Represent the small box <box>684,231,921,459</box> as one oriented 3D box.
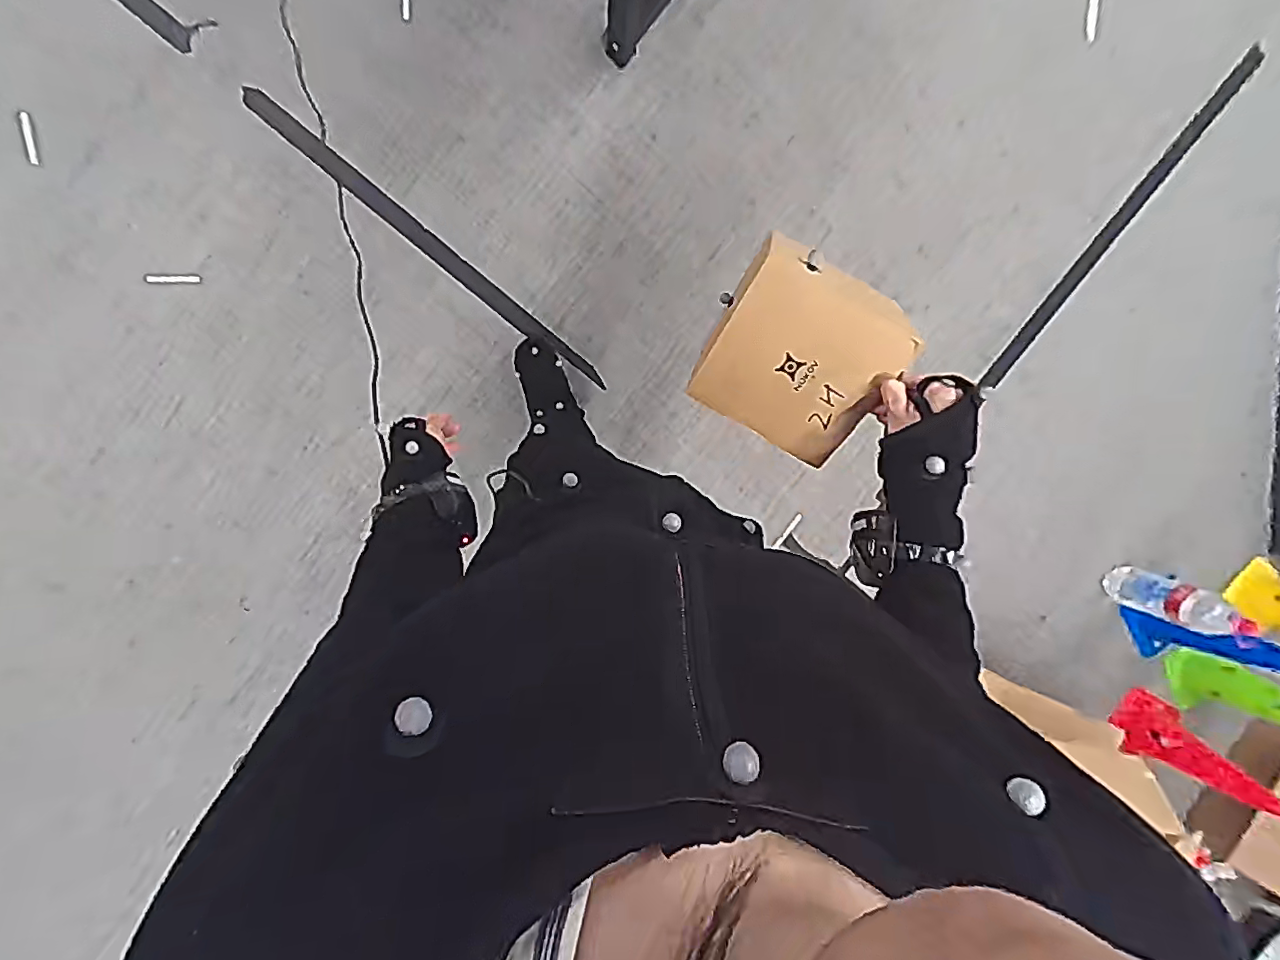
[{"bbox_3d":[0.172,-0.161,0.611,0.179,0.176,0.168,27,125,-4],"label":"small box"}]
